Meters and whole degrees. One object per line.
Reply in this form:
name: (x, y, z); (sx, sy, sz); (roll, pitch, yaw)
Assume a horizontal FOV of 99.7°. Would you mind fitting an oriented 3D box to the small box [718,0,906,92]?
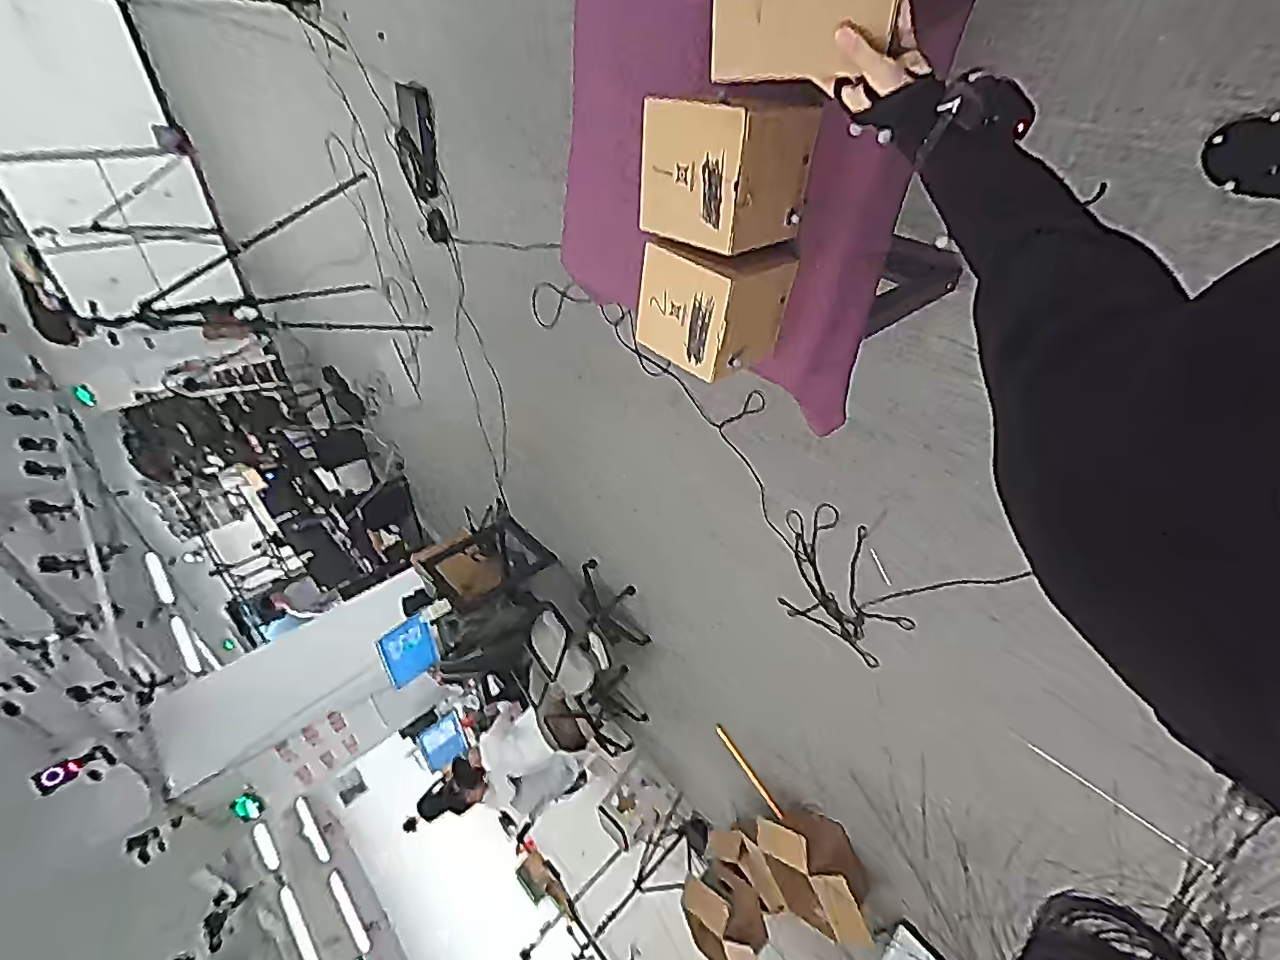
small box: (0.176, -0.527, 0.556); (0.179, 0.176, 0.168); (5, 142, 11)
